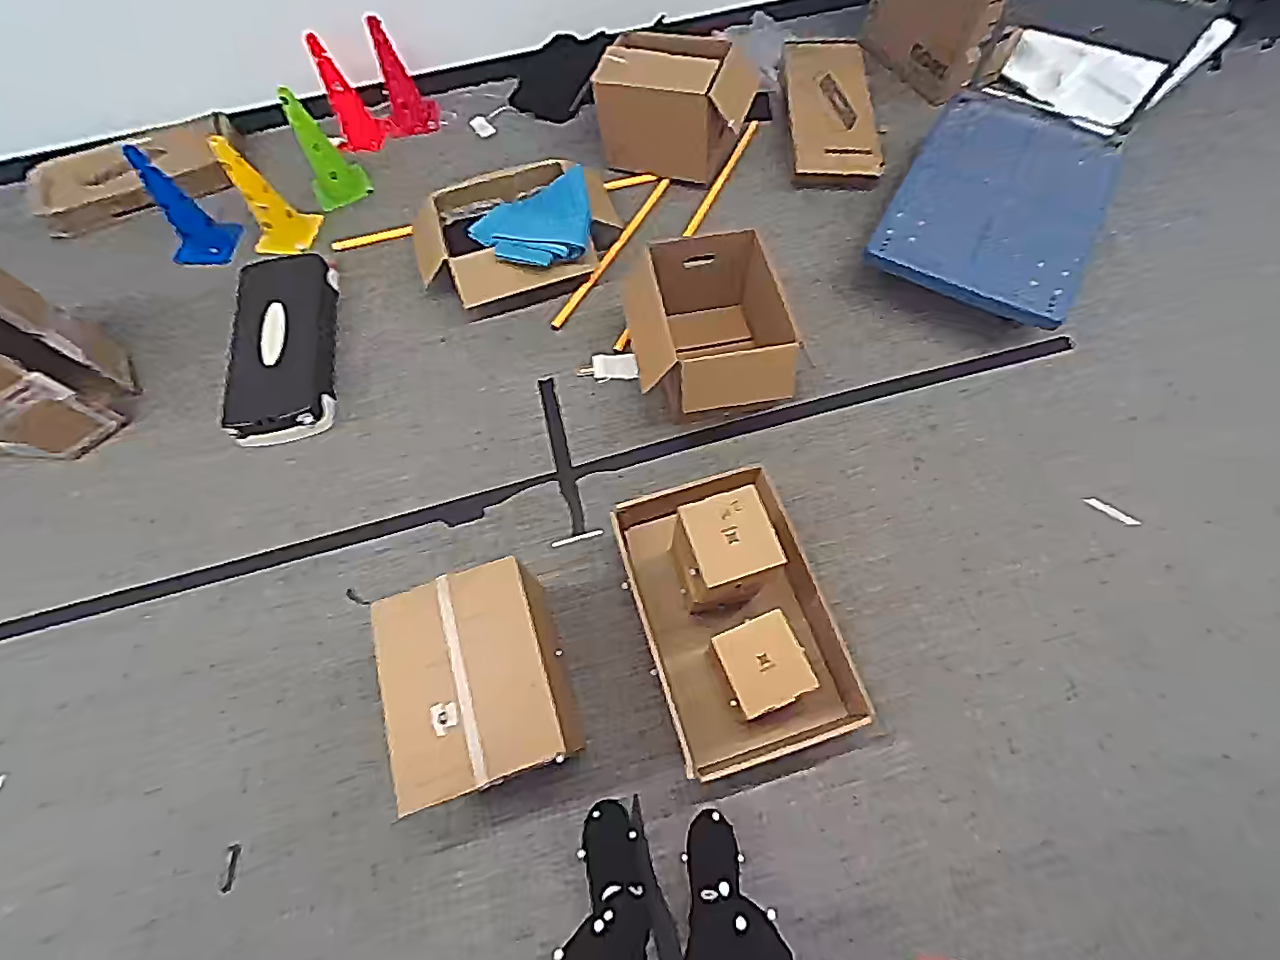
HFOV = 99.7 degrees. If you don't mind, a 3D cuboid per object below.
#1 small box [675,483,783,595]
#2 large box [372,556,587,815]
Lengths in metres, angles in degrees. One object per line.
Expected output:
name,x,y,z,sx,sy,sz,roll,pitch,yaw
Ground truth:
small box,0.178,0.134,1.138,0.168,0.176,0.179,-17,68,-7
large box,-0.335,0.434,1.184,0.320,0.320,0.408,-19,68,-5
